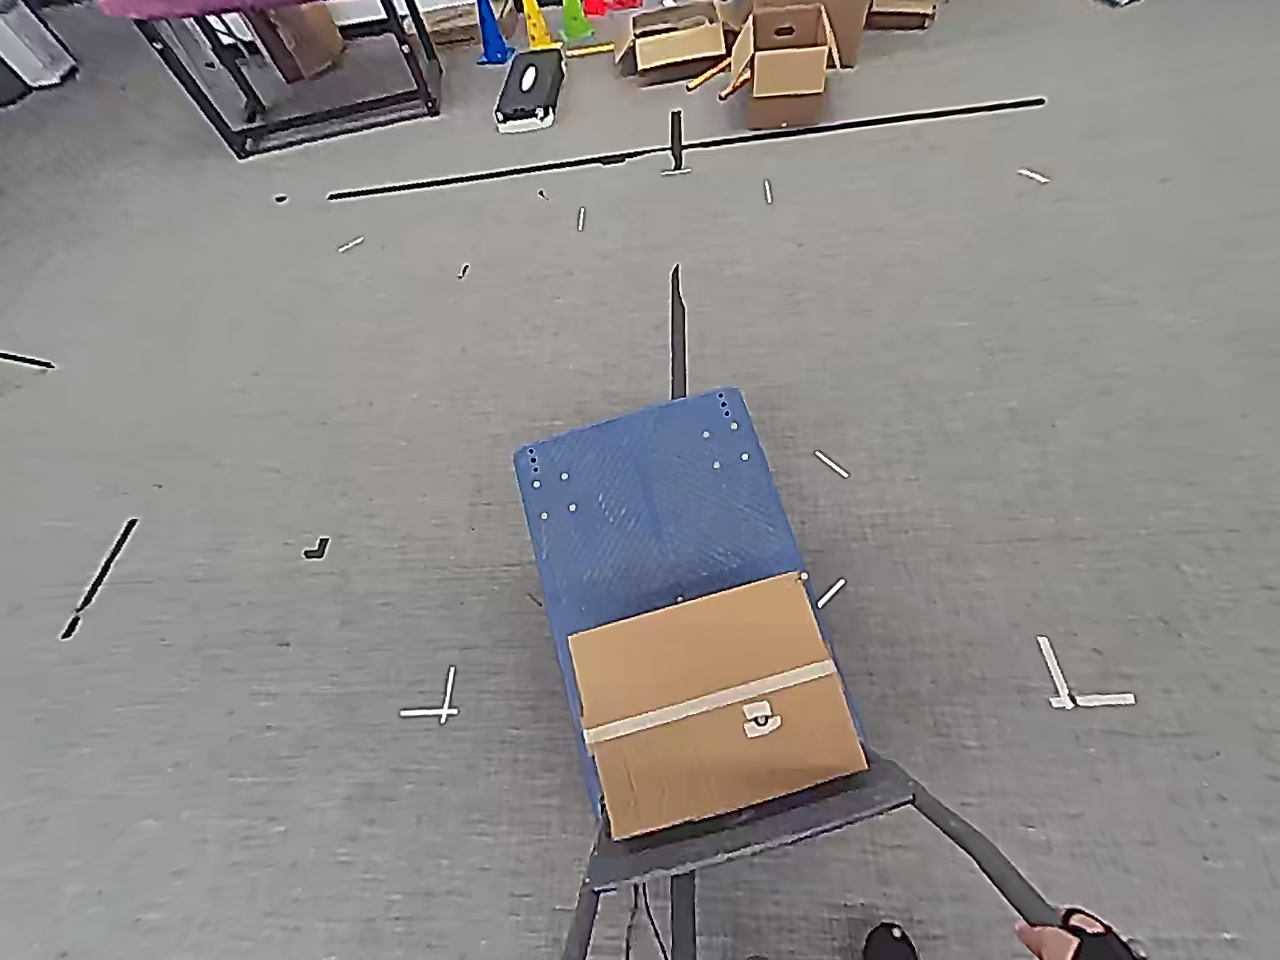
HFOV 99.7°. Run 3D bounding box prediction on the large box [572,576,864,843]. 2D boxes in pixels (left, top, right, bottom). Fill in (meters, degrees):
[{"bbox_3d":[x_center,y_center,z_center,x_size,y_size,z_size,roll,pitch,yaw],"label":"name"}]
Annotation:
[{"bbox_3d":[0.124,0.398,1.010,0.408,0.320,0.320,-16,75,-1],"label":"large box"}]
